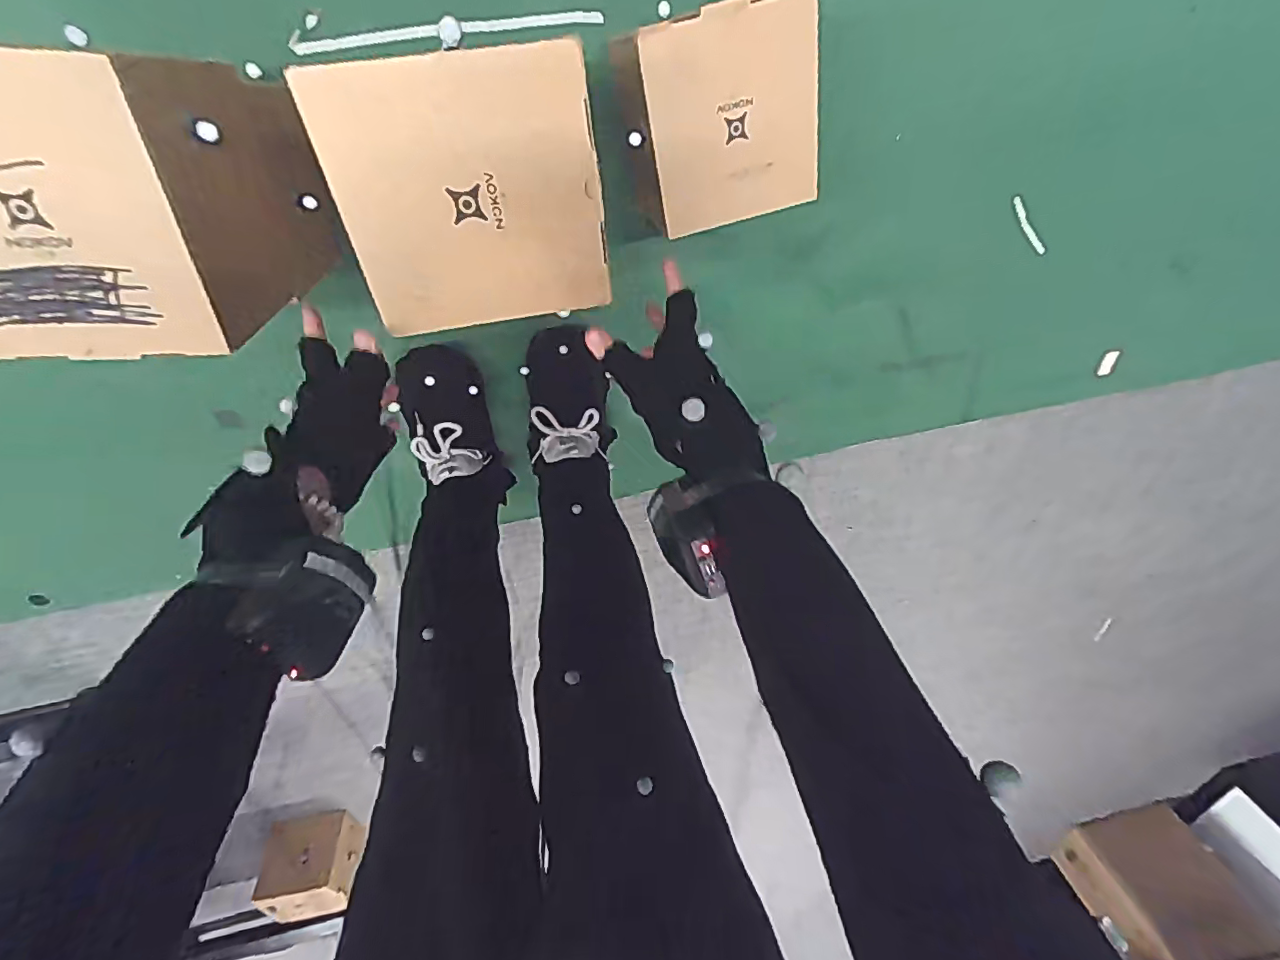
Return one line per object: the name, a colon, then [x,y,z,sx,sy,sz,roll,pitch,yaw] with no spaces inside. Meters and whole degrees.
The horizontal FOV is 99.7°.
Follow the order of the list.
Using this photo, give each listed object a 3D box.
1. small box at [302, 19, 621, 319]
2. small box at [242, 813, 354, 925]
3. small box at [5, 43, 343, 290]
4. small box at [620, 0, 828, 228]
small box: [-0.120,-0.245,0.429,0.179,0.176,0.168,-11,127,-6]
small box: [-0.834,0.961,1.346,0.179,0.176,0.168,-8,127,-8]
small box: [-0.411,-0.299,0.524,0.168,0.176,0.179,-2,127,-11]
small box: [0.082,-0.393,0.576,0.168,0.176,0.179,-15,128,-2]
